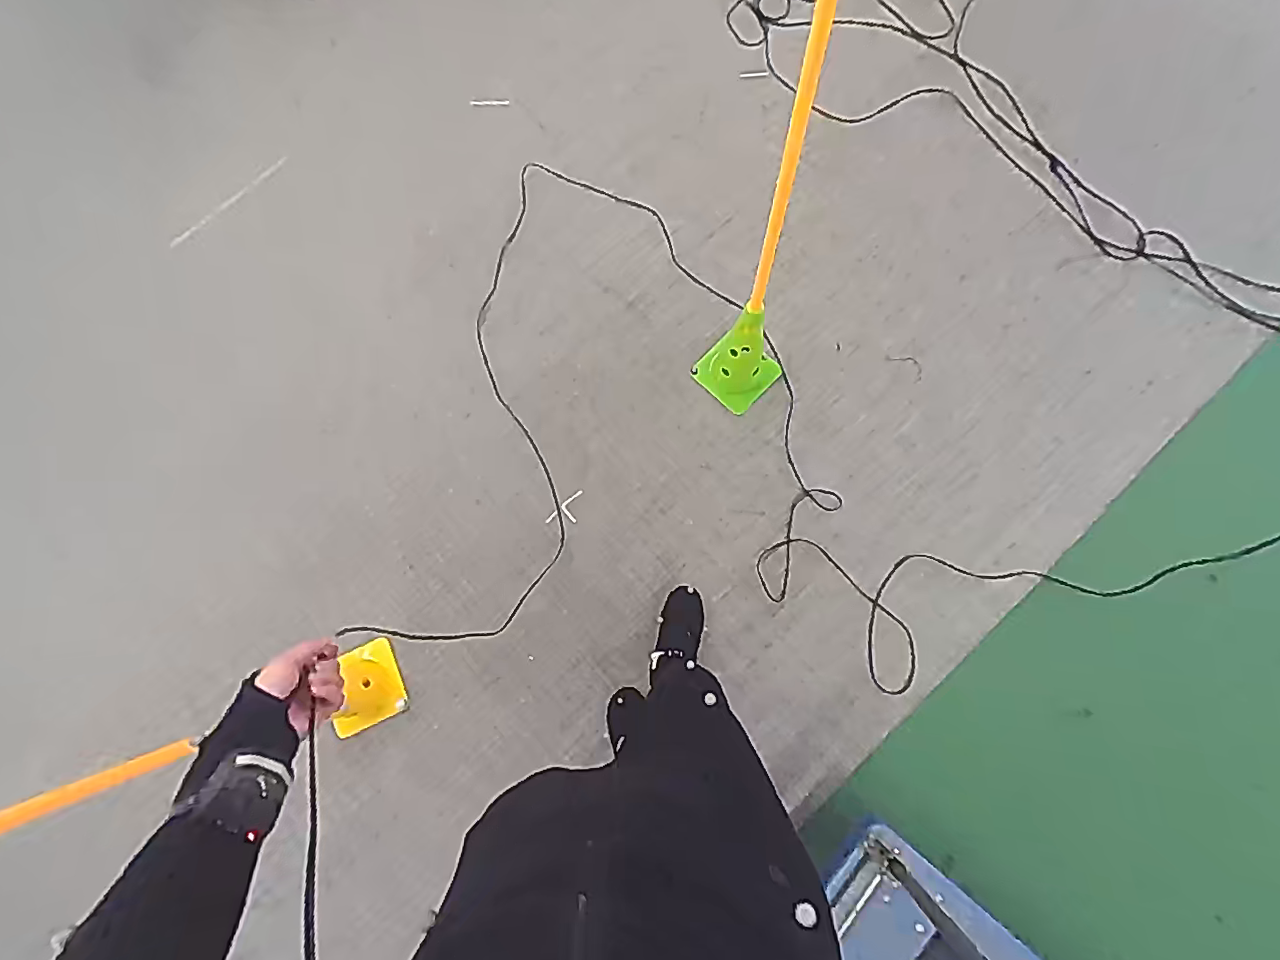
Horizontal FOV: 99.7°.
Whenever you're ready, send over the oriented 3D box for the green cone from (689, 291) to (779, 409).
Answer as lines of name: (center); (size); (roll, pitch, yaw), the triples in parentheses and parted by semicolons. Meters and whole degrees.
green cone: (0.264, -0.362, 1.384); (0.200, 0.368, 0.202); (42, 82, 10)
